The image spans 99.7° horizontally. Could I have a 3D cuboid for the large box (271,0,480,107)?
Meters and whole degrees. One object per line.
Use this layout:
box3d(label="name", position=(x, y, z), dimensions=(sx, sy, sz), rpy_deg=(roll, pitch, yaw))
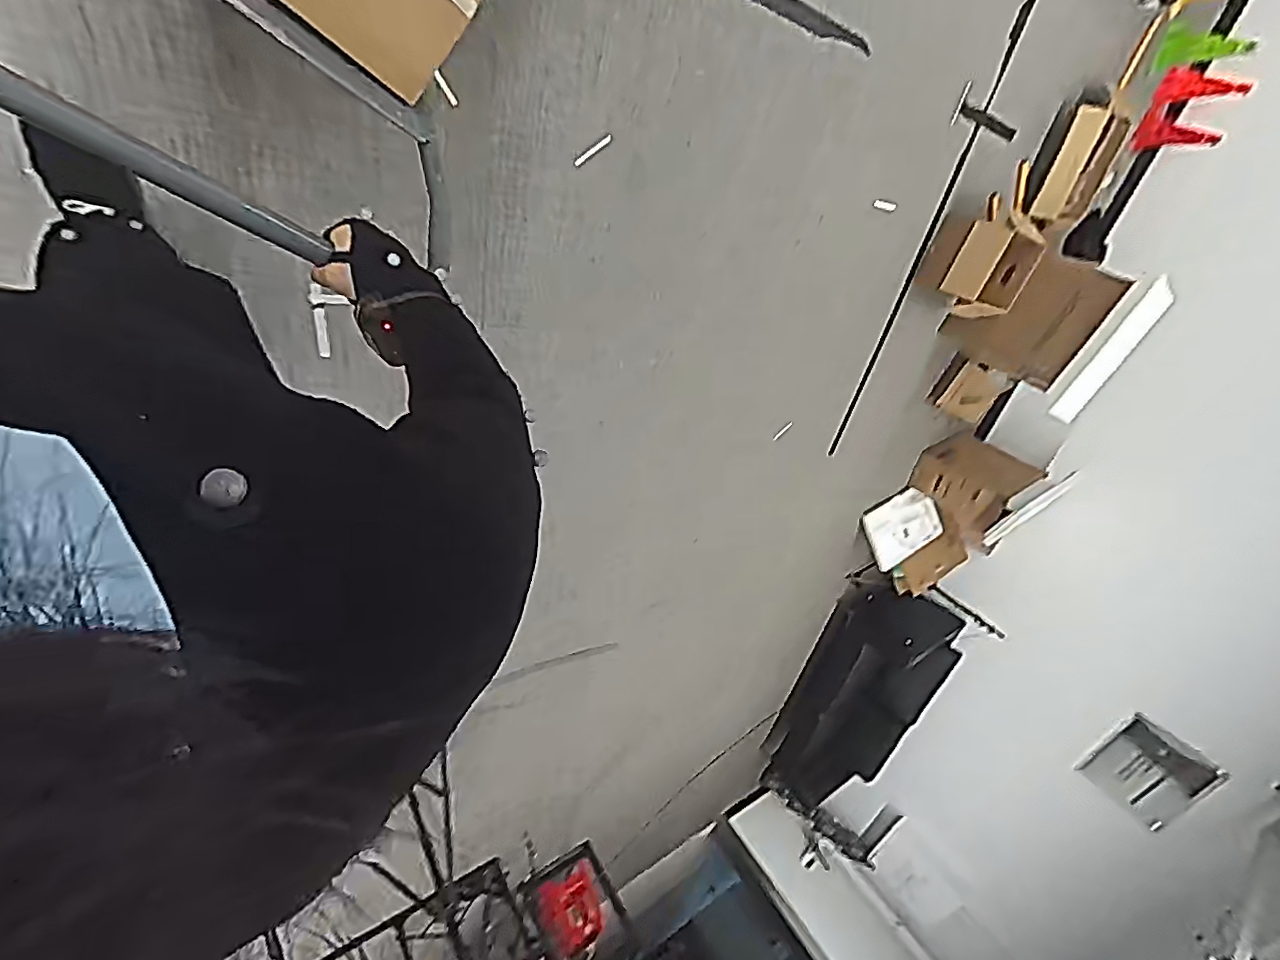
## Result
box3d(label="large box", position=(-0.410, -0.799, 0.670), dimensions=(0.320, 0.320, 0.408), rpy_deg=(-38, 147, 23))
